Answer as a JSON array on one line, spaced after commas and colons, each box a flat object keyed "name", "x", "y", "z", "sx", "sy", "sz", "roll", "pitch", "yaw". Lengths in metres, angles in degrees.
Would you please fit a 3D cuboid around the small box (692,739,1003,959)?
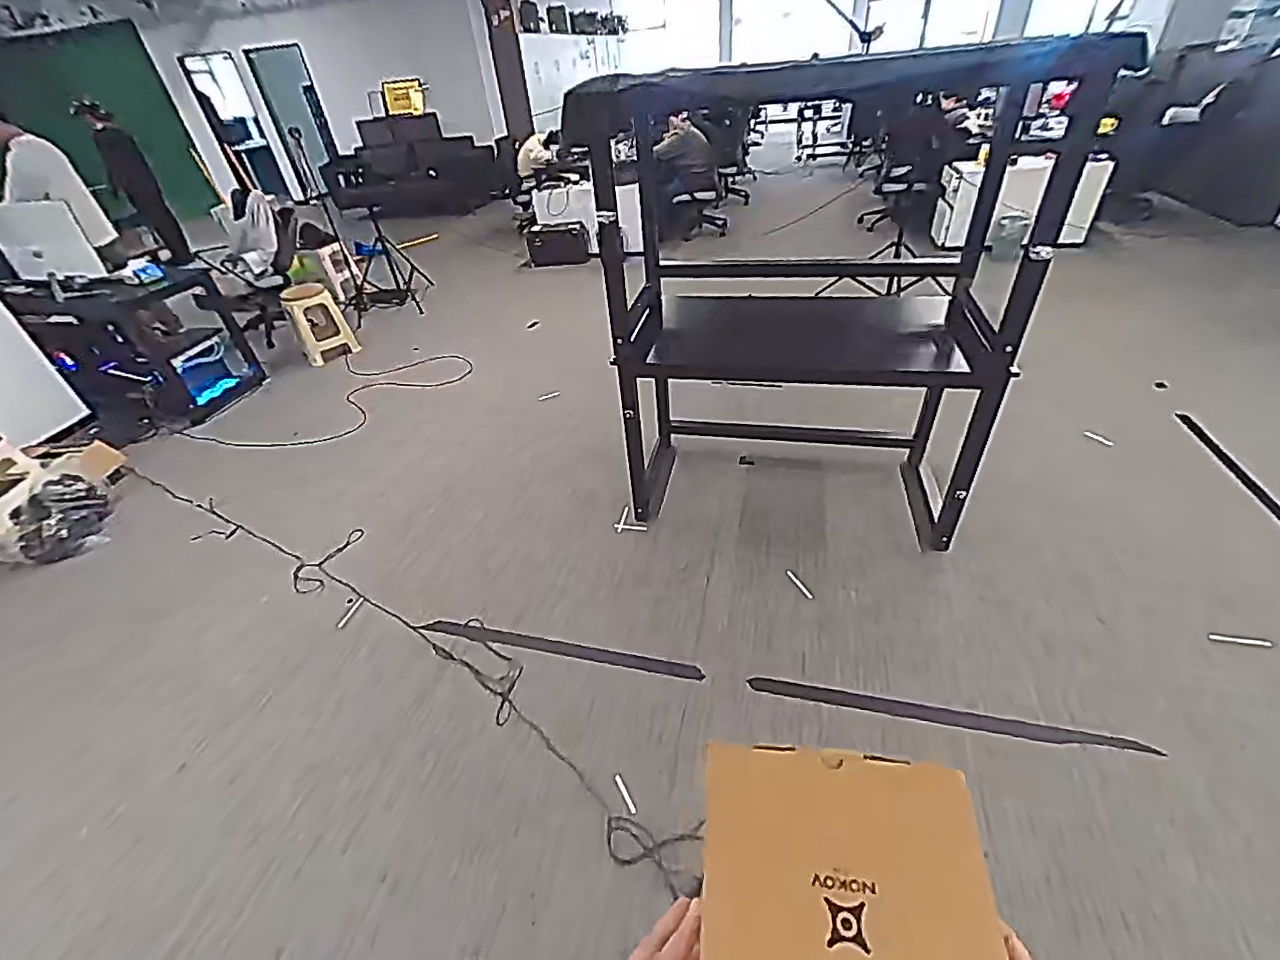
[{"name": "small box", "x": 0.125, "y": 0.303, "z": 0.365, "sx": 0.168, "sy": 0.176, "sz": 0.179, "roll": 2, "pitch": 45, "yaw": 10}]
